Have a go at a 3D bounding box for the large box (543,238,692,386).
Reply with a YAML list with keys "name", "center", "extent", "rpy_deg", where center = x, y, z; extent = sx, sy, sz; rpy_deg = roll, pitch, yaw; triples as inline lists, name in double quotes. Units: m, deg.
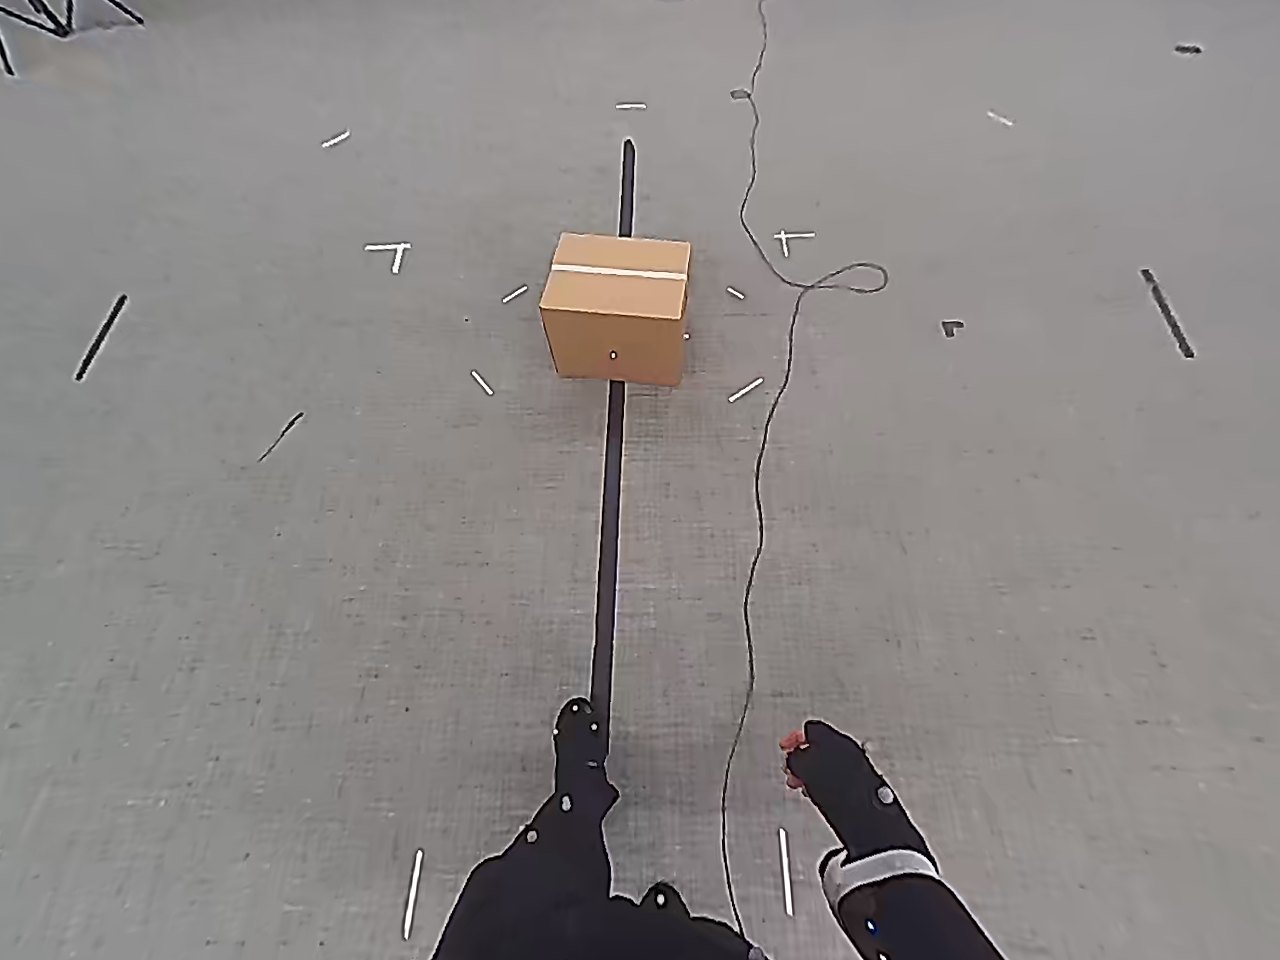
- name: "large box"
  center: [-0.059, -0.519, 1.701]
  extent: [0.408, 0.320, 0.320]
  rpy_deg: [7, 64, 5]
